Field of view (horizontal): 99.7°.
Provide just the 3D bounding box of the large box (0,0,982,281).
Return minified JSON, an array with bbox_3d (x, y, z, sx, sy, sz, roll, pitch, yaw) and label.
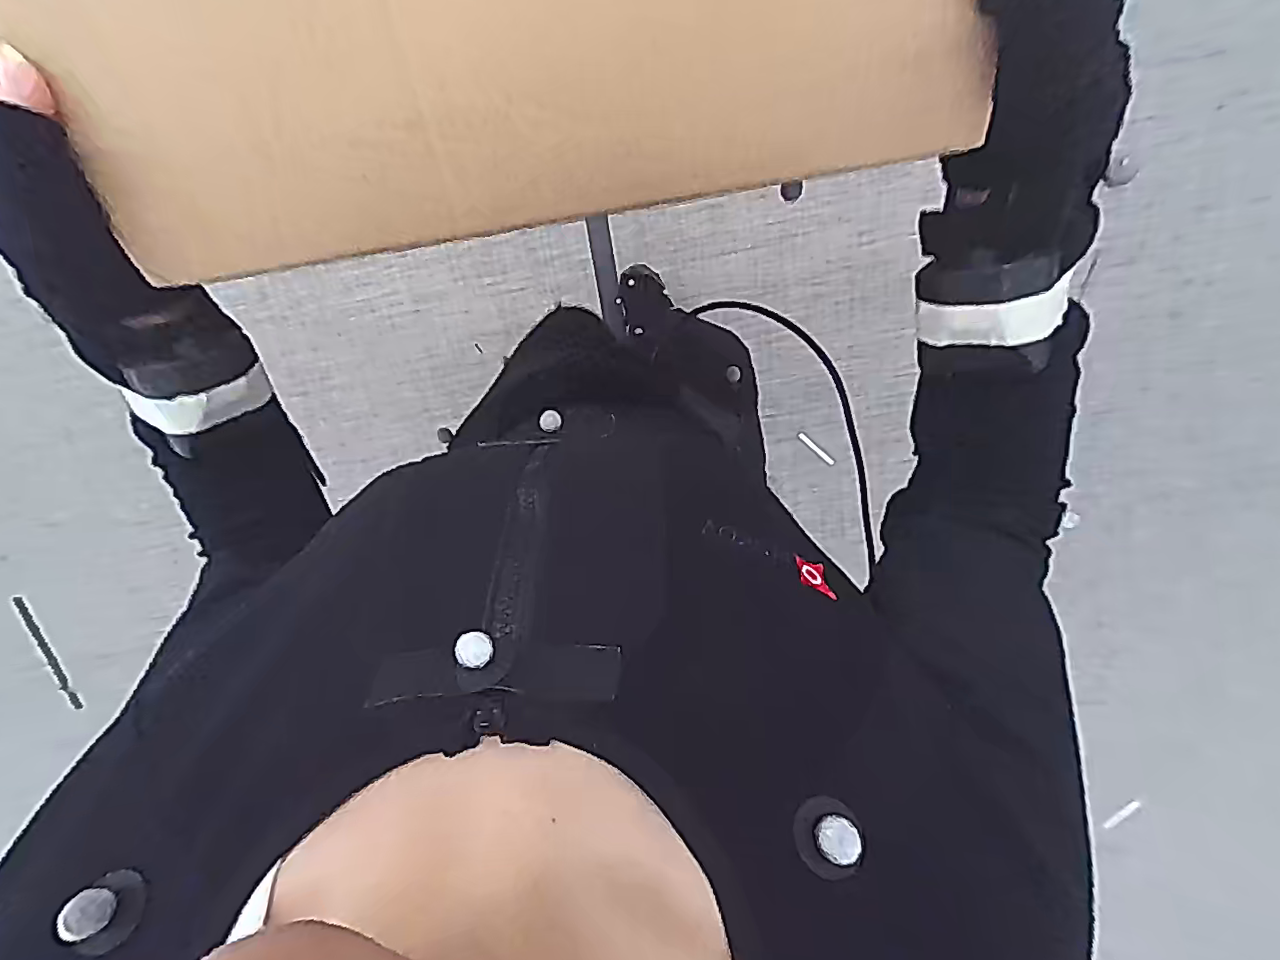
[{"bbox_3d":[-0.072,-0.339,0.300,0.408,0.320,0.320,-7,123,6],"label":"large box"}]
